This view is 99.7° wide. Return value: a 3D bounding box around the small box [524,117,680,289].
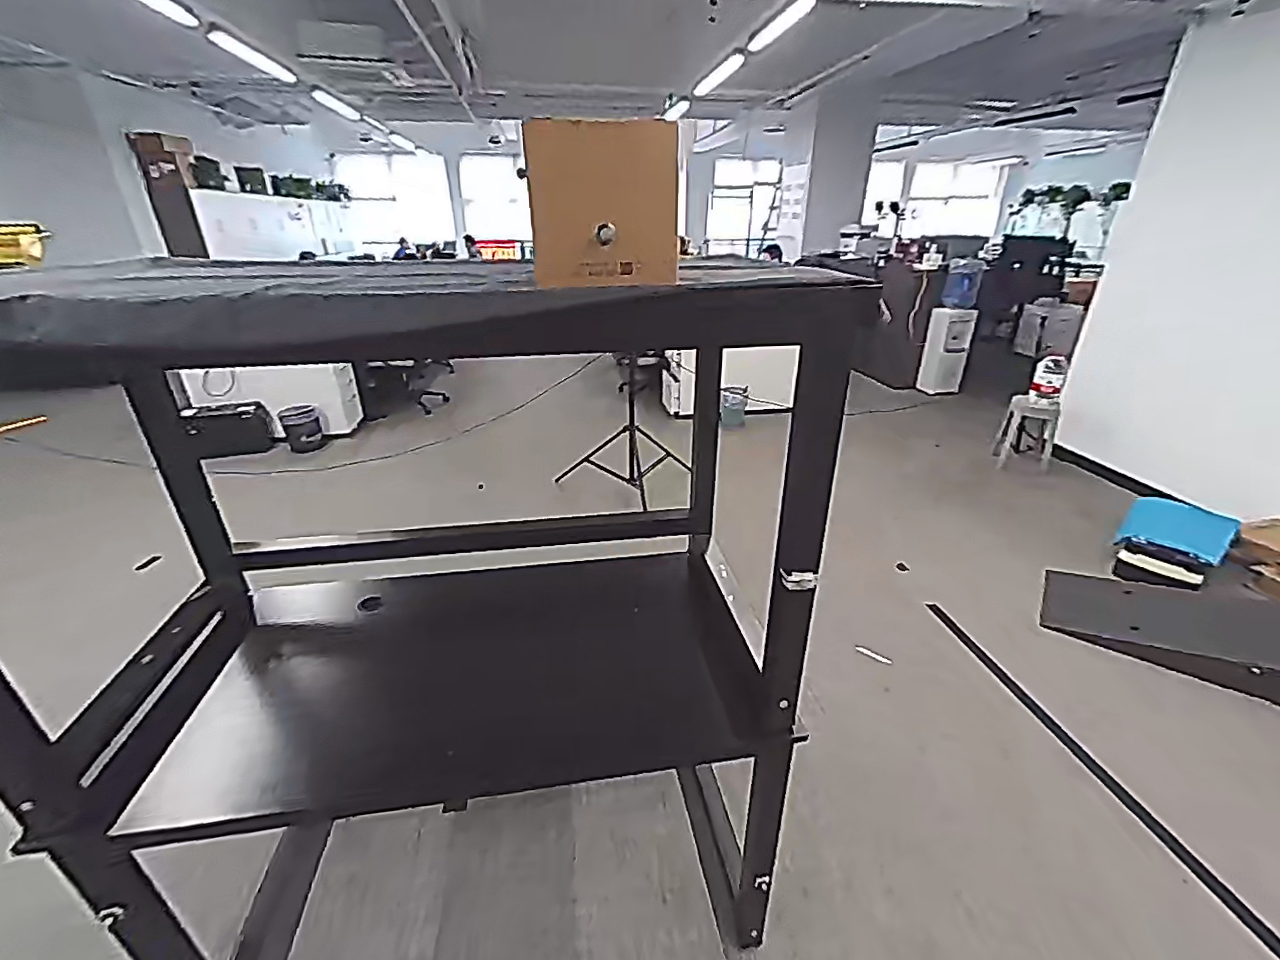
[{"bbox_3d":[-0.048,-0.332,0.668,0.168,0.176,0.179,-5,25,-6],"label":"small box"}]
